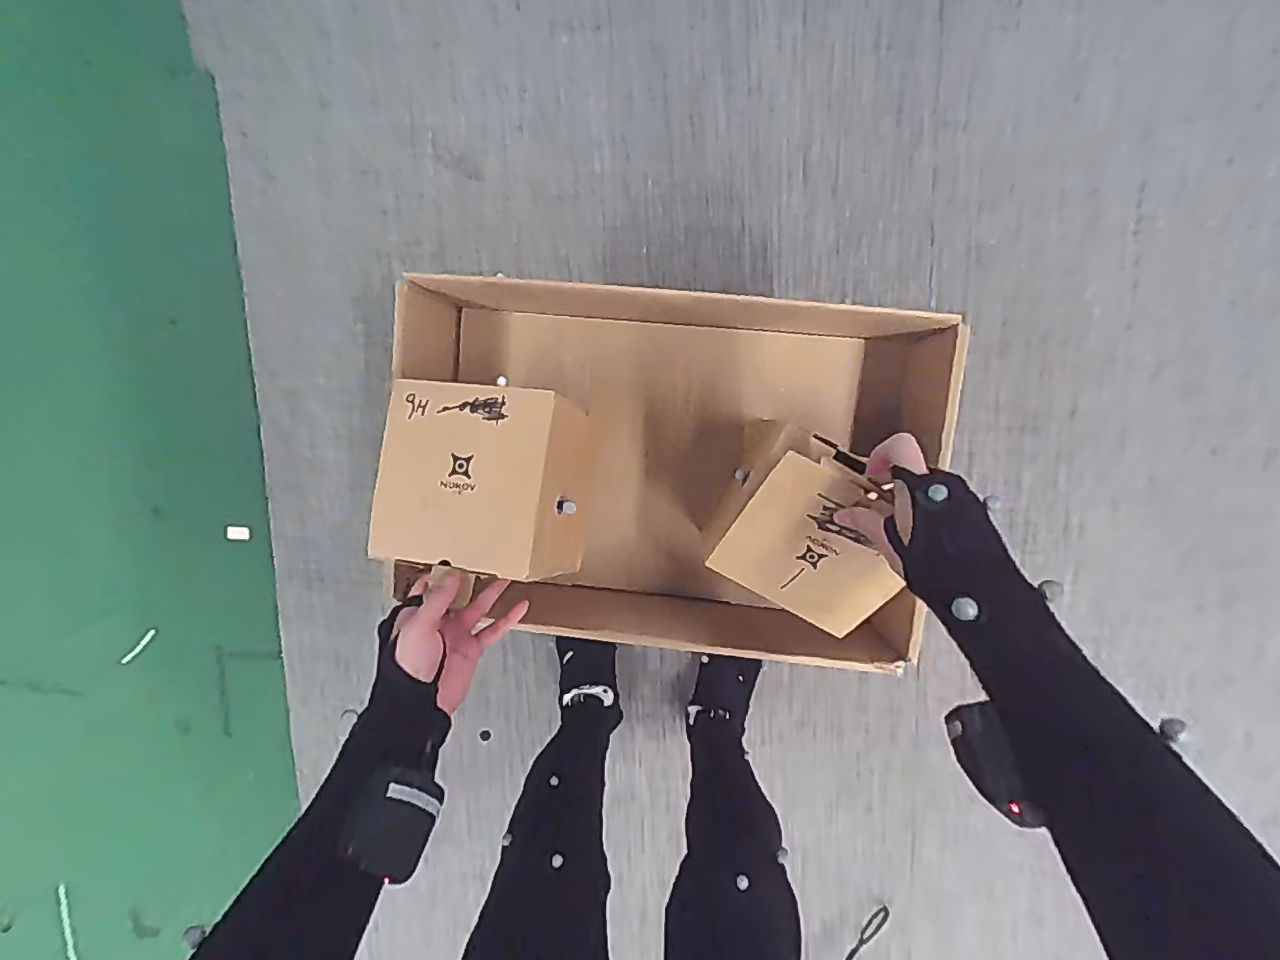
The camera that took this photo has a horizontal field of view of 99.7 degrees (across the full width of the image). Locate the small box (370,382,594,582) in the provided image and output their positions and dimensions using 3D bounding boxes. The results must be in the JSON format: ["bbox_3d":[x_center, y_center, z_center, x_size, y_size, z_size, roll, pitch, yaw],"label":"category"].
[{"bbox_3d":[-0.155,0.004,0.582,0.168,0.176,0.179,5,86,11],"label":"small box"}]
